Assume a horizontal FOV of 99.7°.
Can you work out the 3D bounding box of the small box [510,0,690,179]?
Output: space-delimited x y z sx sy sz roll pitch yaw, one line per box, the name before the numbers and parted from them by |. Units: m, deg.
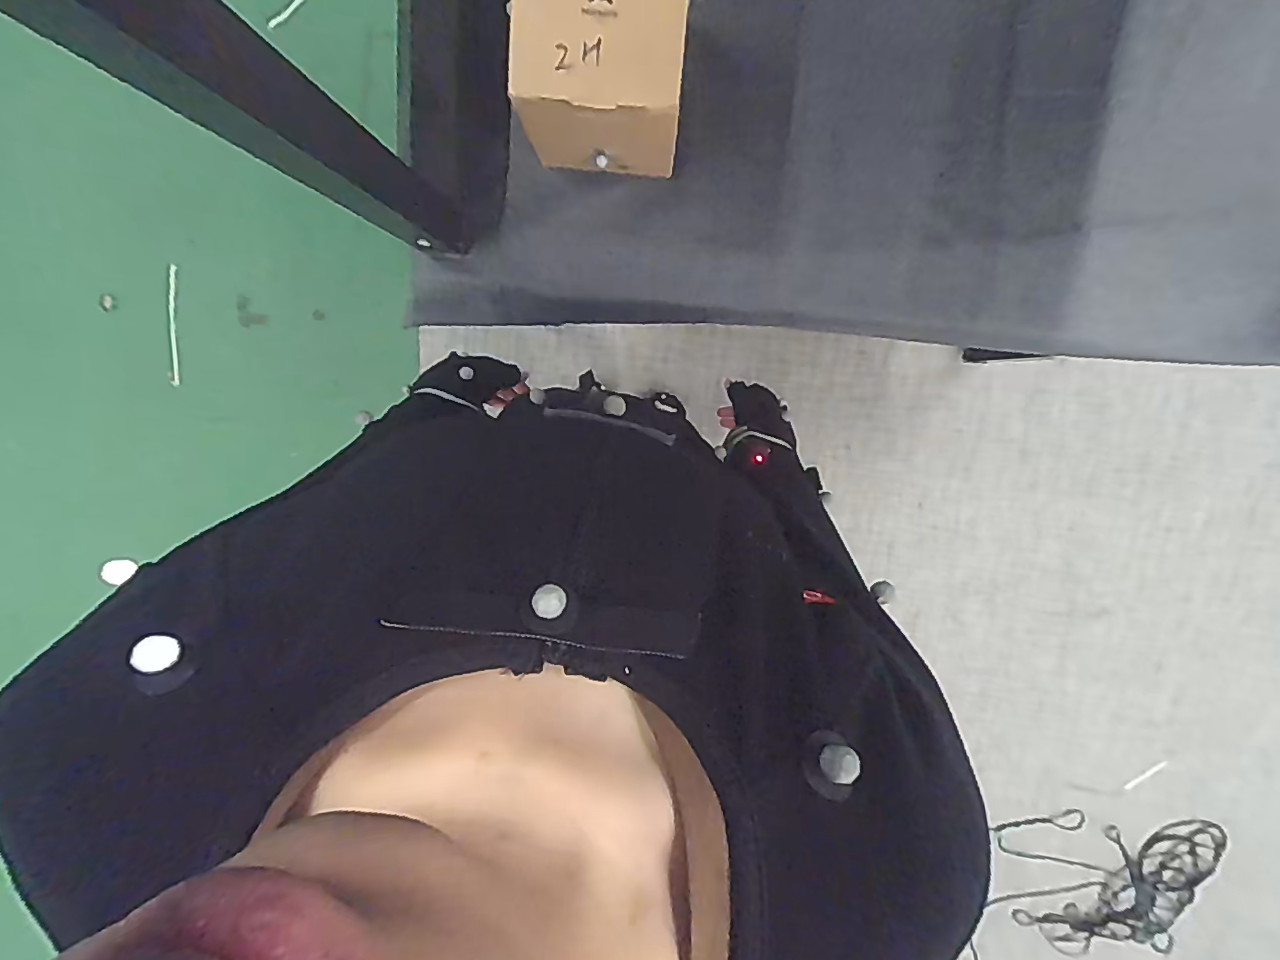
small box | -0.036 -0.457 0.584 0.168 0.176 0.179 5 100 0
